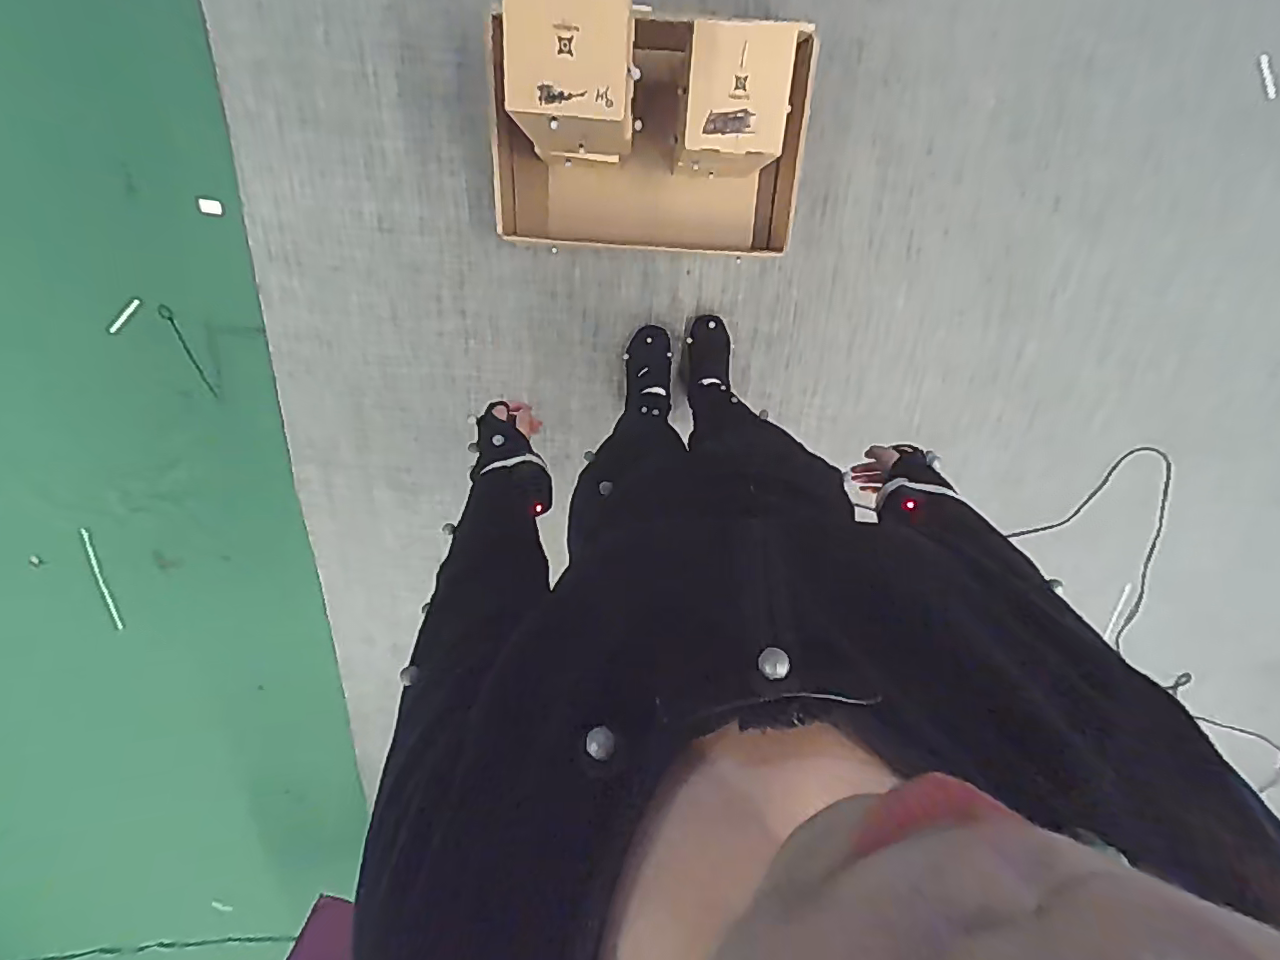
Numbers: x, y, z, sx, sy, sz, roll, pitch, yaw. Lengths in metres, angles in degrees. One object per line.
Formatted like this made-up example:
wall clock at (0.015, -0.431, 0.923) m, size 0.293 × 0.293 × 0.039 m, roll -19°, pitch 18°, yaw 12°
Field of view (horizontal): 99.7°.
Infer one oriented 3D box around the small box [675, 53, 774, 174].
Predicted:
small box at (0.162, -0.727, 1.092) m, size 0.168 × 0.176 × 0.179 m, roll 2°, pitch 114°, yaw -1°

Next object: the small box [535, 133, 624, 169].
small box at (-0.112, -0.741, 1.085) m, size 0.168 × 0.176 × 0.179 m, roll 5°, pitch 113°, yaw -4°

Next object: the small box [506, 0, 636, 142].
small box at (-0.095, -0.613, 0.782) m, size 0.168 × 0.176 × 0.179 m, roll 4°, pitch 113°, yaw -2°
